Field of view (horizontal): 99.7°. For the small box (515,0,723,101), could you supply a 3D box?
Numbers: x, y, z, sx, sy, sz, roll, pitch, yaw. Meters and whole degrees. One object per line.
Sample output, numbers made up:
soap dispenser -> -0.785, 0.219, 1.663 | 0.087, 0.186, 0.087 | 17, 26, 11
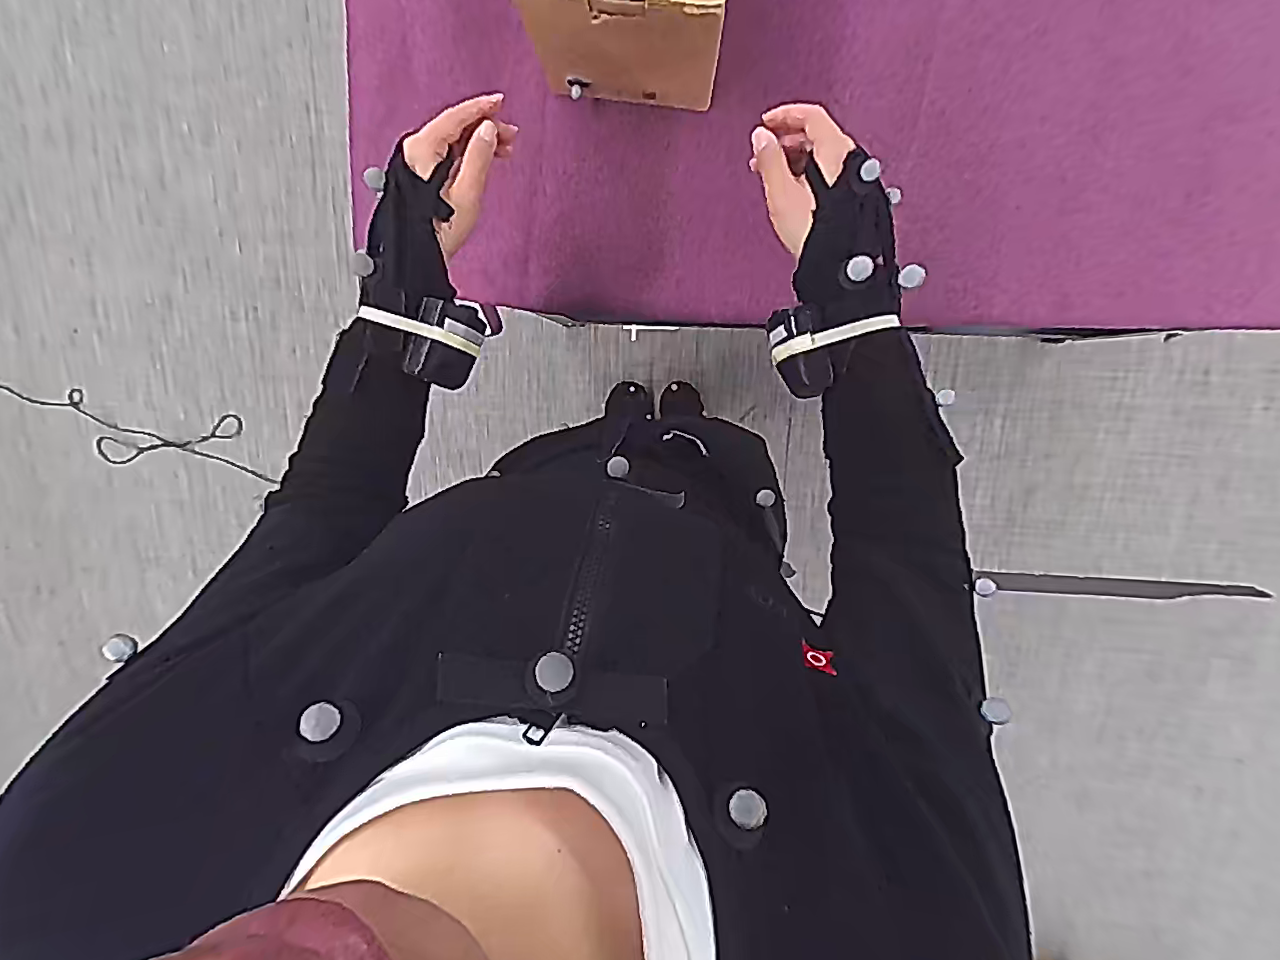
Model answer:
small box -> -0.005, -0.462, 0.463 | 0.168, 0.176, 0.179 | 7, 102, 1
